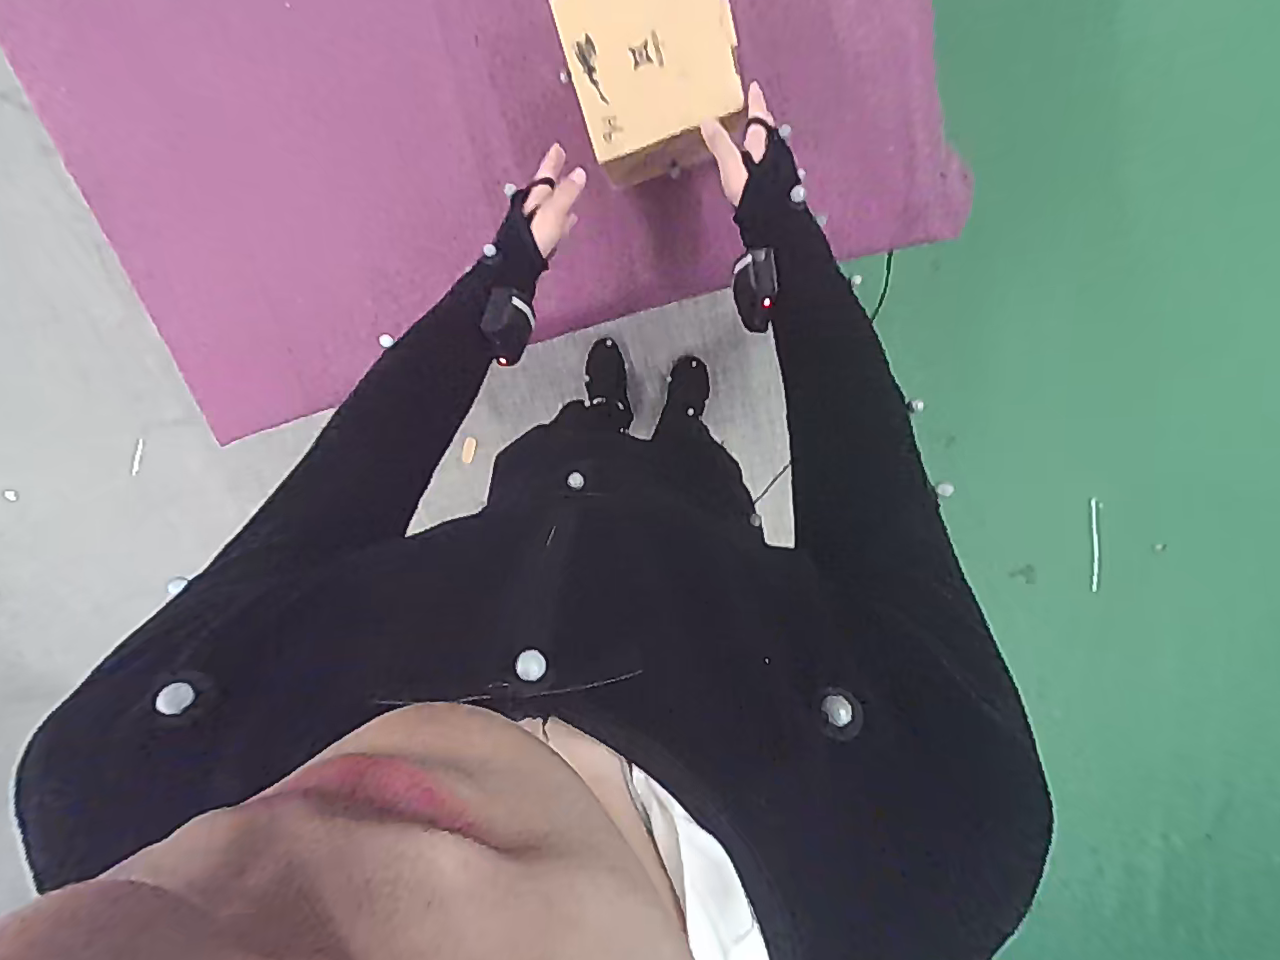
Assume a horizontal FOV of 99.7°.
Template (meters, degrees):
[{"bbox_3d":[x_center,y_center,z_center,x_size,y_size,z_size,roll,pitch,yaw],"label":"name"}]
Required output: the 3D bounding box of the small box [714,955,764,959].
[{"bbox_3d":[0.332,1.687,1.750,0.179,0.176,0.168,-6,106,7],"label":"small box"}]

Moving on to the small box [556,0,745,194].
[{"bbox_3d":[0.017,-0.478,0.666,0.179,0.176,0.168,-15,106,9],"label":"small box"}]

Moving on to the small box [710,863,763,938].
[{"bbox_3d":[0.365,1.601,2.065,0.179,0.176,0.168,-8,107,8],"label":"small box"}]

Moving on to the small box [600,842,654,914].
[{"bbox_3d":[-0.044,1.528,2.077,0.179,0.176,0.168,-8,107,6],"label":"small box"}]
